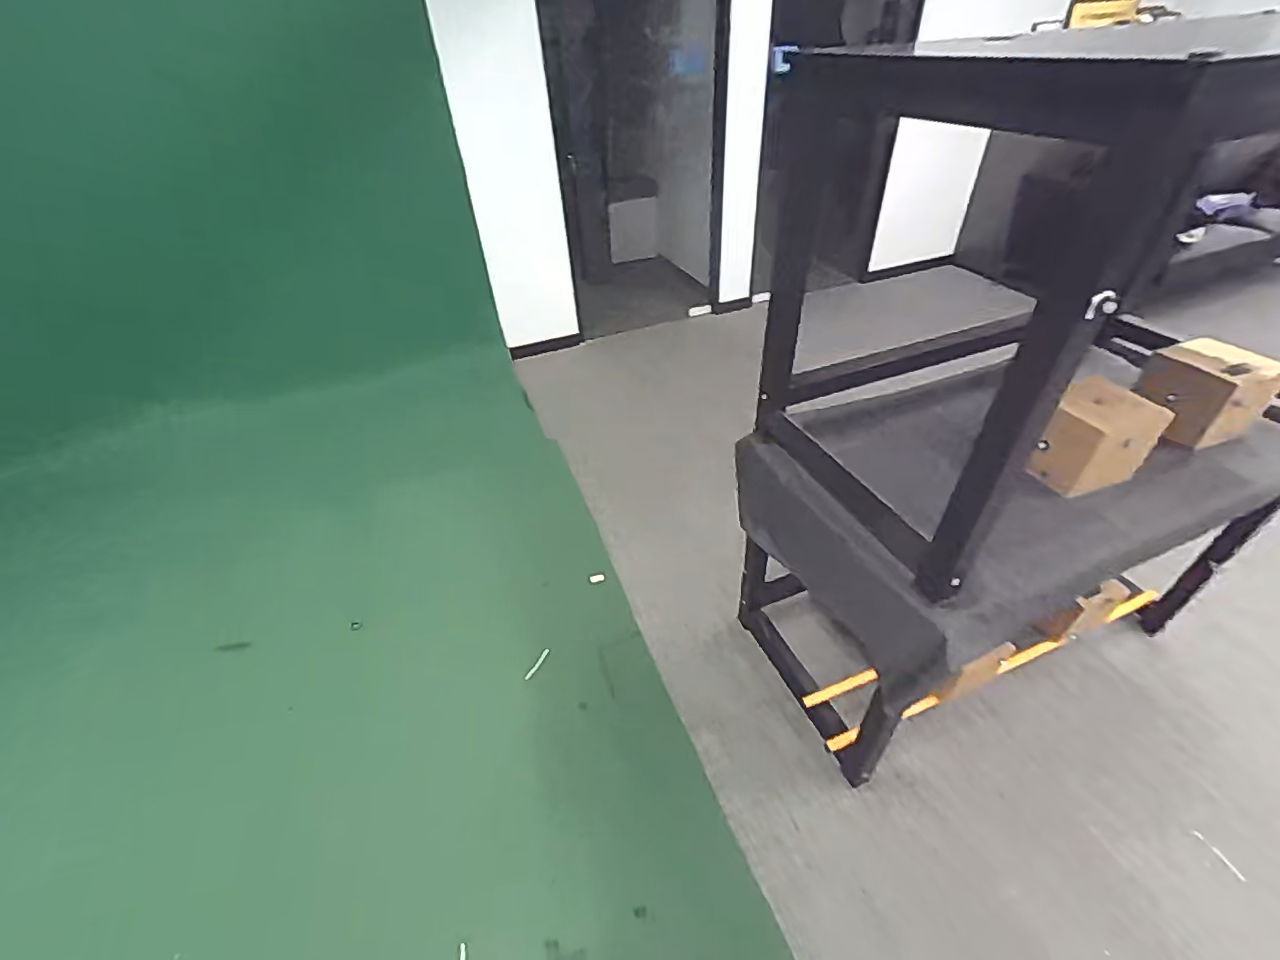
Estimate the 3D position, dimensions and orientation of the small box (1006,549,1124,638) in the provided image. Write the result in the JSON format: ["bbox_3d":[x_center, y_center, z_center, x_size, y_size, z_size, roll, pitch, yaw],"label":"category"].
[{"bbox_3d":[1.222,0.336,1.569,0.168,0.176,0.179,-14,41,-13],"label":"small box"}]

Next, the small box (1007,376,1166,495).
[{"bbox_3d":[0.910,-0.091,1.128,0.179,0.176,0.168,-15,41,-13],"label":"small box"}]
